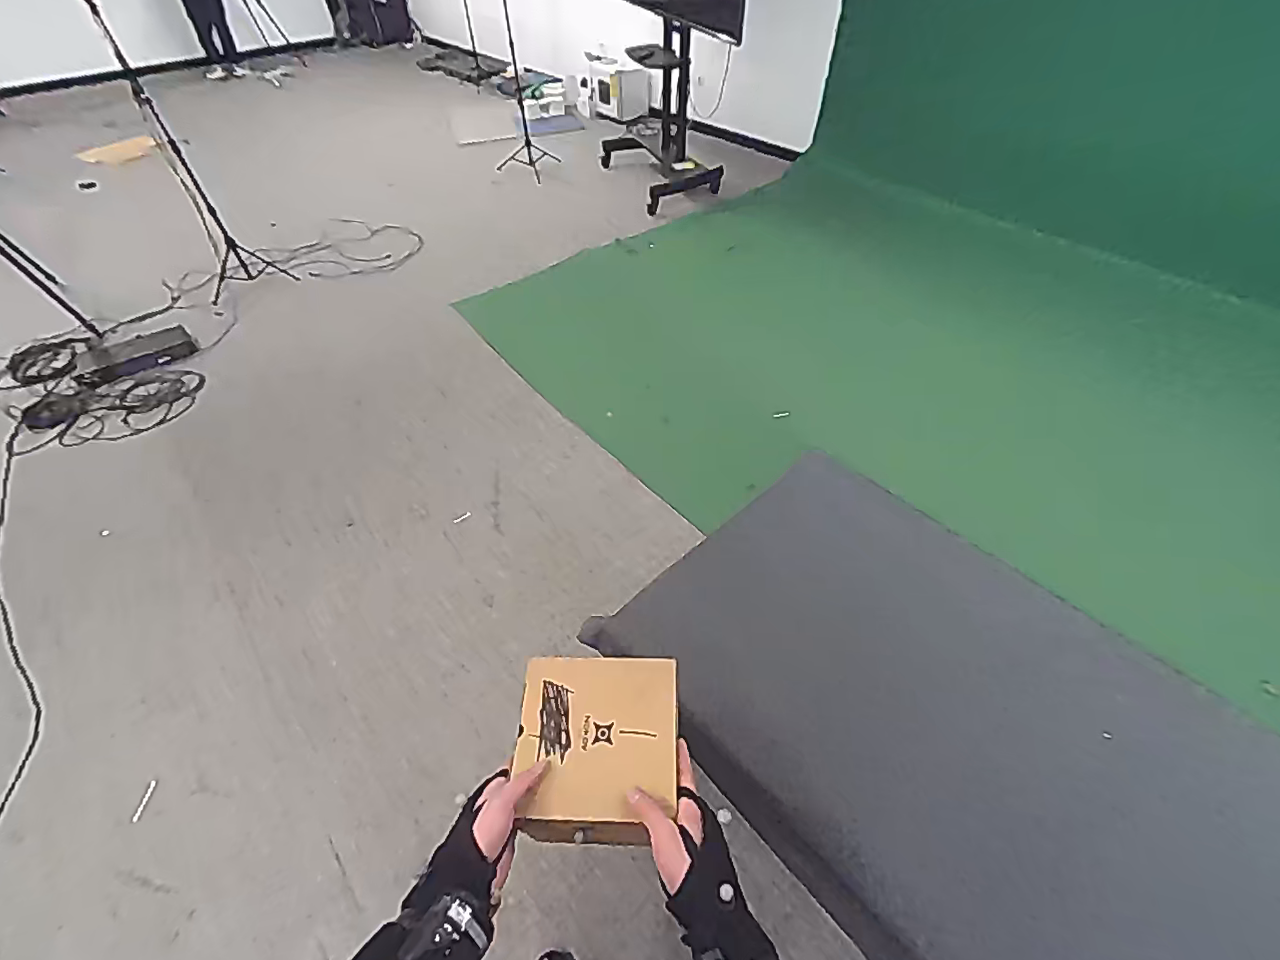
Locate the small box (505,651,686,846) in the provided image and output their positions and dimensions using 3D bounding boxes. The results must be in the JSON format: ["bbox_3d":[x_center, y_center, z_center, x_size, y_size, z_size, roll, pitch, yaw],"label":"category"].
[{"bbox_3d":[-0.038,0.311,0.622,0.179,0.176,0.168,1,49,1],"label":"small box"}]
